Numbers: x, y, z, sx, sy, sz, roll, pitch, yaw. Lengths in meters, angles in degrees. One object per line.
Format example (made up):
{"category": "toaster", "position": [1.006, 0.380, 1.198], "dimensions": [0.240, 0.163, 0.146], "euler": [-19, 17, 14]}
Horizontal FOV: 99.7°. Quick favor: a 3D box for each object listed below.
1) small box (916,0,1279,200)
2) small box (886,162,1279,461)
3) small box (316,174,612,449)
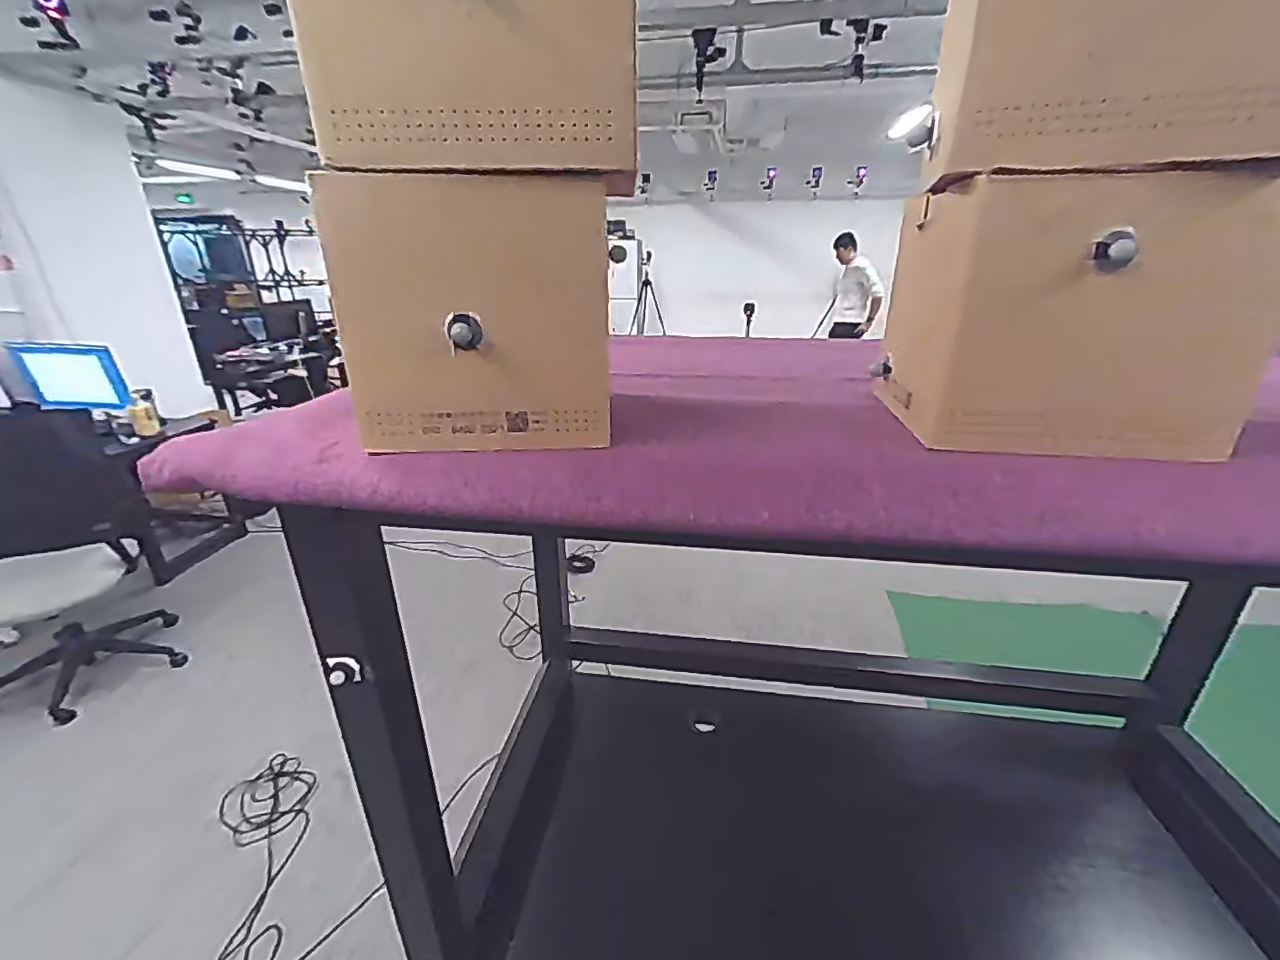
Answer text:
{"category": "small box", "position": [0.287, -0.269, 0.331], "dimensions": [0.179, 0.176, 0.168], "euler": [7, 23, 19]}
{"category": "small box", "position": [0.293, -0.119, 0.393], "dimensions": [0.179, 0.176, 0.168], "euler": [4, 23, 9]}
{"category": "small box", "position": [-0.105, -0.127, 0.411], "dimensions": [0.168, 0.176, 0.179], "euler": [0, 23, -4]}
